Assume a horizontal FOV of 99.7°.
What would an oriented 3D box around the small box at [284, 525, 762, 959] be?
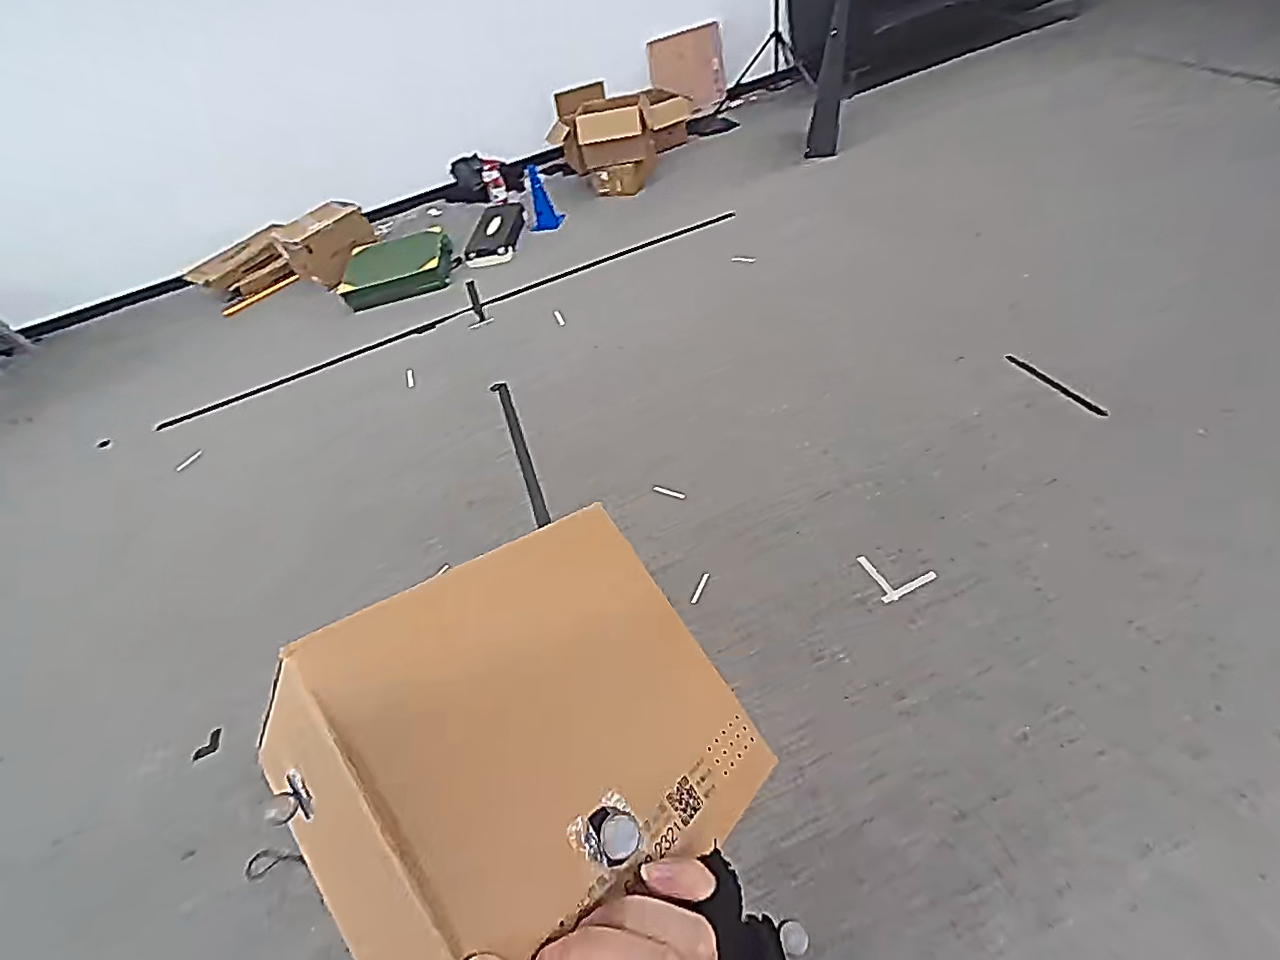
[{"bbox_3d":[-0.070,0.160,0.304,0.168,0.179,0.176,-25,75,-46],"label":"small box"}]
